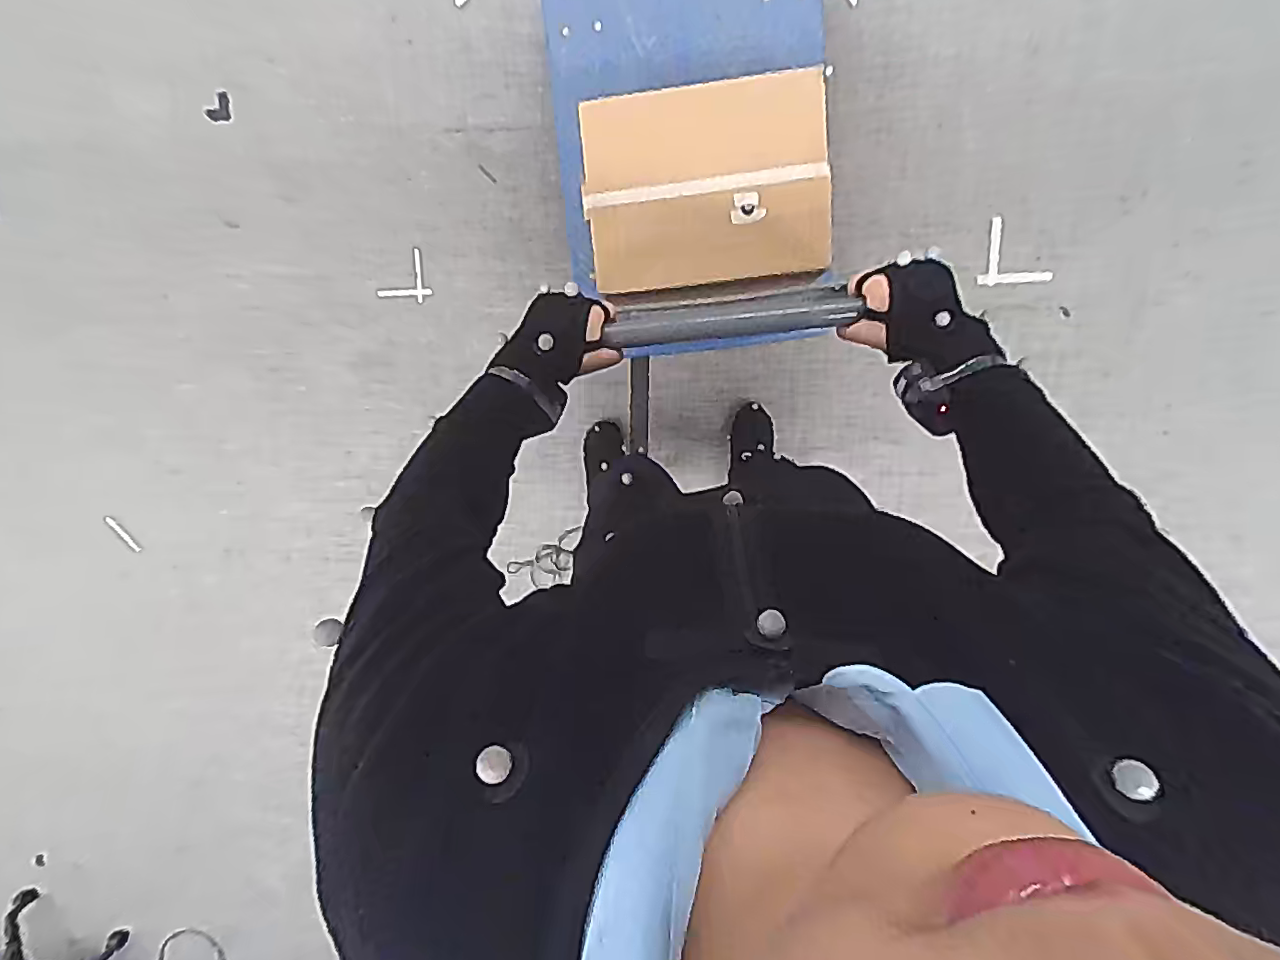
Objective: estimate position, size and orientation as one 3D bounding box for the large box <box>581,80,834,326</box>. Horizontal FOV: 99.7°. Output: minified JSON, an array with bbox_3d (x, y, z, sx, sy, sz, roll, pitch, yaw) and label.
[{"bbox_3d":[0.123,-0.494,1.048,0.408,0.320,0.320,-5,100,5],"label":"large box"}]
